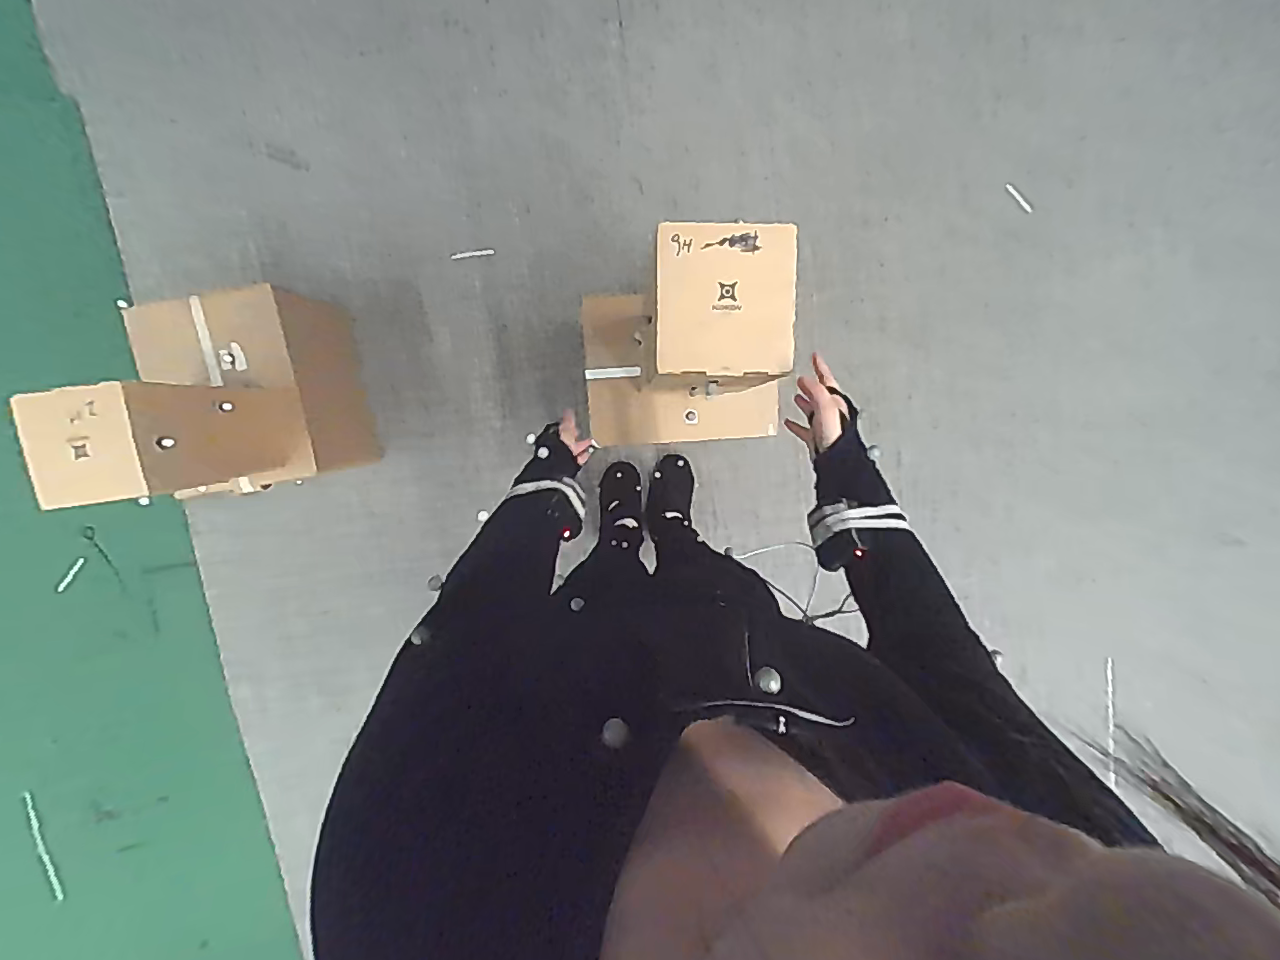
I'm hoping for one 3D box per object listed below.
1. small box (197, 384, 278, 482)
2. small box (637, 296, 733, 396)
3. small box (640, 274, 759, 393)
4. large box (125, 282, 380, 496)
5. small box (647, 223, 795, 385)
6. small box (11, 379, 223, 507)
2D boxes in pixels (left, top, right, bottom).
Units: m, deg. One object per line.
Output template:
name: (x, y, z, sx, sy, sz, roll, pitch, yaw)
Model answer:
small box: (-0.838, -0.086, 1.040, 0.168, 0.176, 0.179, -7, 97, -1)
small box: (0.086, -0.252, 1.043, 0.179, 0.176, 0.168, 1, 95, -2)
small box: (0.093, -0.232, 0.880, 0.179, 0.176, 0.168, 2, 95, -1)
large box: (-0.869, -0.201, 1.270, 0.320, 0.320, 0.408, -9, 97, 0)
small box: (0.096, -0.219, 0.716, 0.168, 0.176, 0.179, 1, 96, -2)
small box: (-0.826, -0.064, 0.877, 0.168, 0.176, 0.179, -7, 97, -1)
